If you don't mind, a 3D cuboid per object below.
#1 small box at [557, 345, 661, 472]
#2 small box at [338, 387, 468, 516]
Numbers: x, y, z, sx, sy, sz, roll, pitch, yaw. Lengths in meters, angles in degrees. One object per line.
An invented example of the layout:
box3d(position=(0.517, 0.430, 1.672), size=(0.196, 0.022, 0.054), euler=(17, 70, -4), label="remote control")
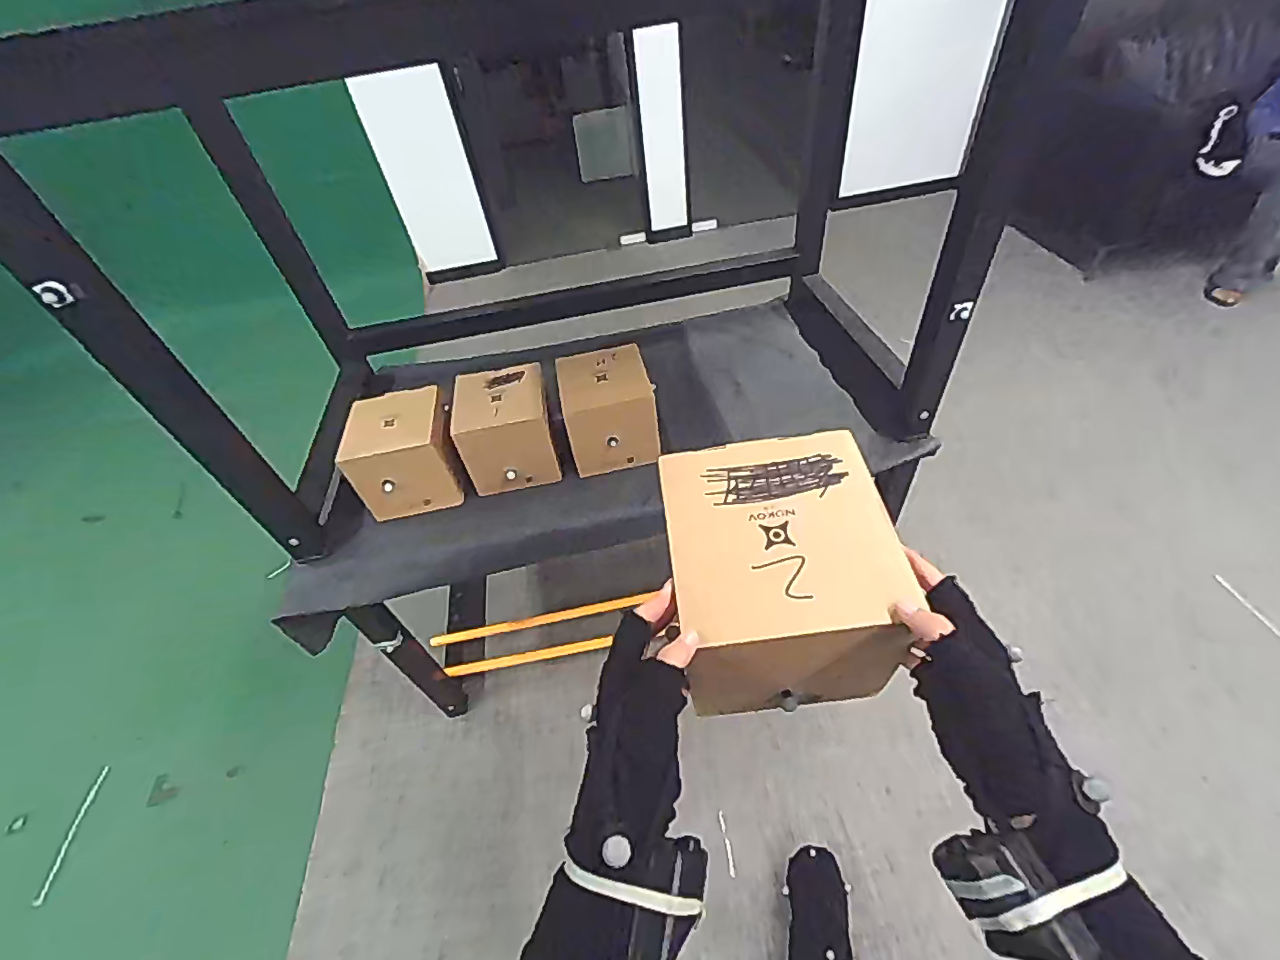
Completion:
box3d(position=(-0.059, -0.133, 1.056), size=(0.168, 0.176, 0.179), euler=(-12, 46, -3), label="small box")
box3d(position=(-0.439, -0.048, 1.035), size=(0.168, 0.176, 0.179), euler=(-12, 45, -3), label="small box")
